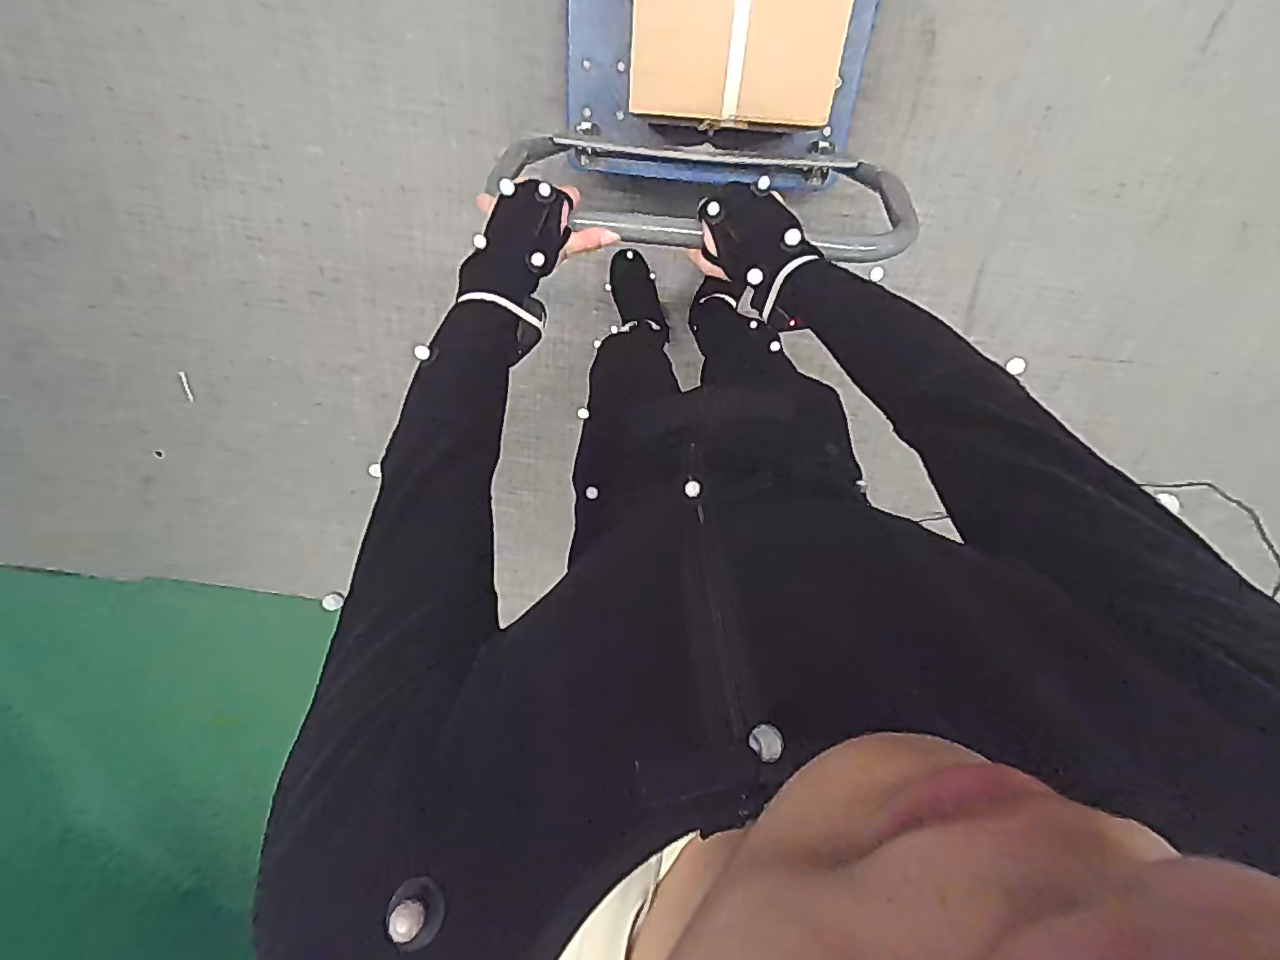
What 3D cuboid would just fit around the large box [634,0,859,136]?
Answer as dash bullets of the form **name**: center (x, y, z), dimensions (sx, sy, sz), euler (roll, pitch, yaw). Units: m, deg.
- **large box**: center (0.170, -0.798, 0.866), dimensions (0.320, 0.320, 0.408), euler (6, 121, 3)
